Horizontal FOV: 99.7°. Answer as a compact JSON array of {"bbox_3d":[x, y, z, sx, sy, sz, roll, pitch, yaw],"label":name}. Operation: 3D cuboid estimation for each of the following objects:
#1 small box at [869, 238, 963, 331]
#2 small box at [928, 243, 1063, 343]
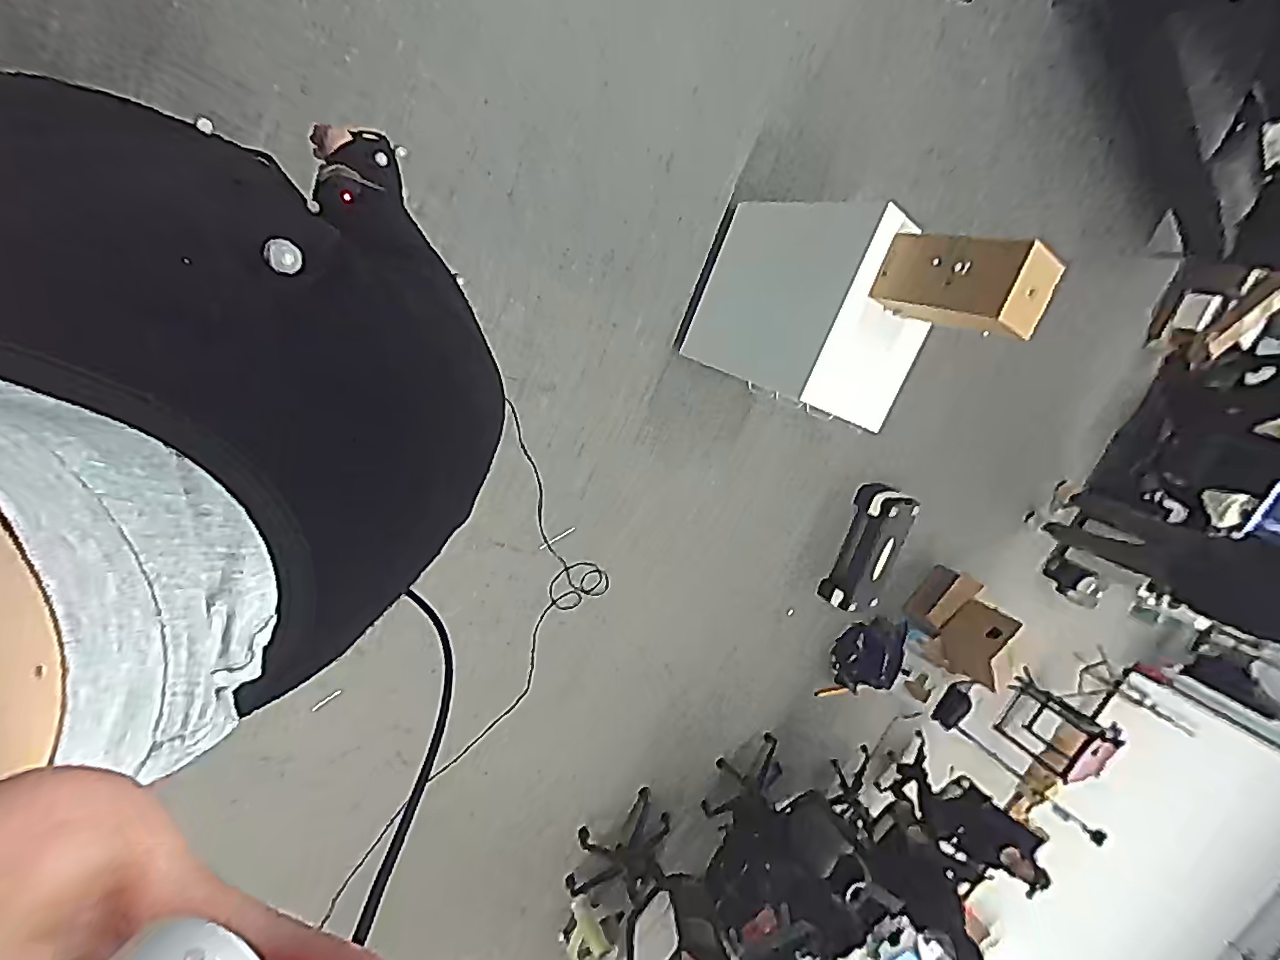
[{"bbox_3d":[0.711,-0.487,1.342,0.179,0.176,0.168,9,108,-37],"label":"small box"},{"bbox_3d":[0.793,-0.423,1.216,0.179,0.176,0.168,6,109,-35],"label":"small box"}]
